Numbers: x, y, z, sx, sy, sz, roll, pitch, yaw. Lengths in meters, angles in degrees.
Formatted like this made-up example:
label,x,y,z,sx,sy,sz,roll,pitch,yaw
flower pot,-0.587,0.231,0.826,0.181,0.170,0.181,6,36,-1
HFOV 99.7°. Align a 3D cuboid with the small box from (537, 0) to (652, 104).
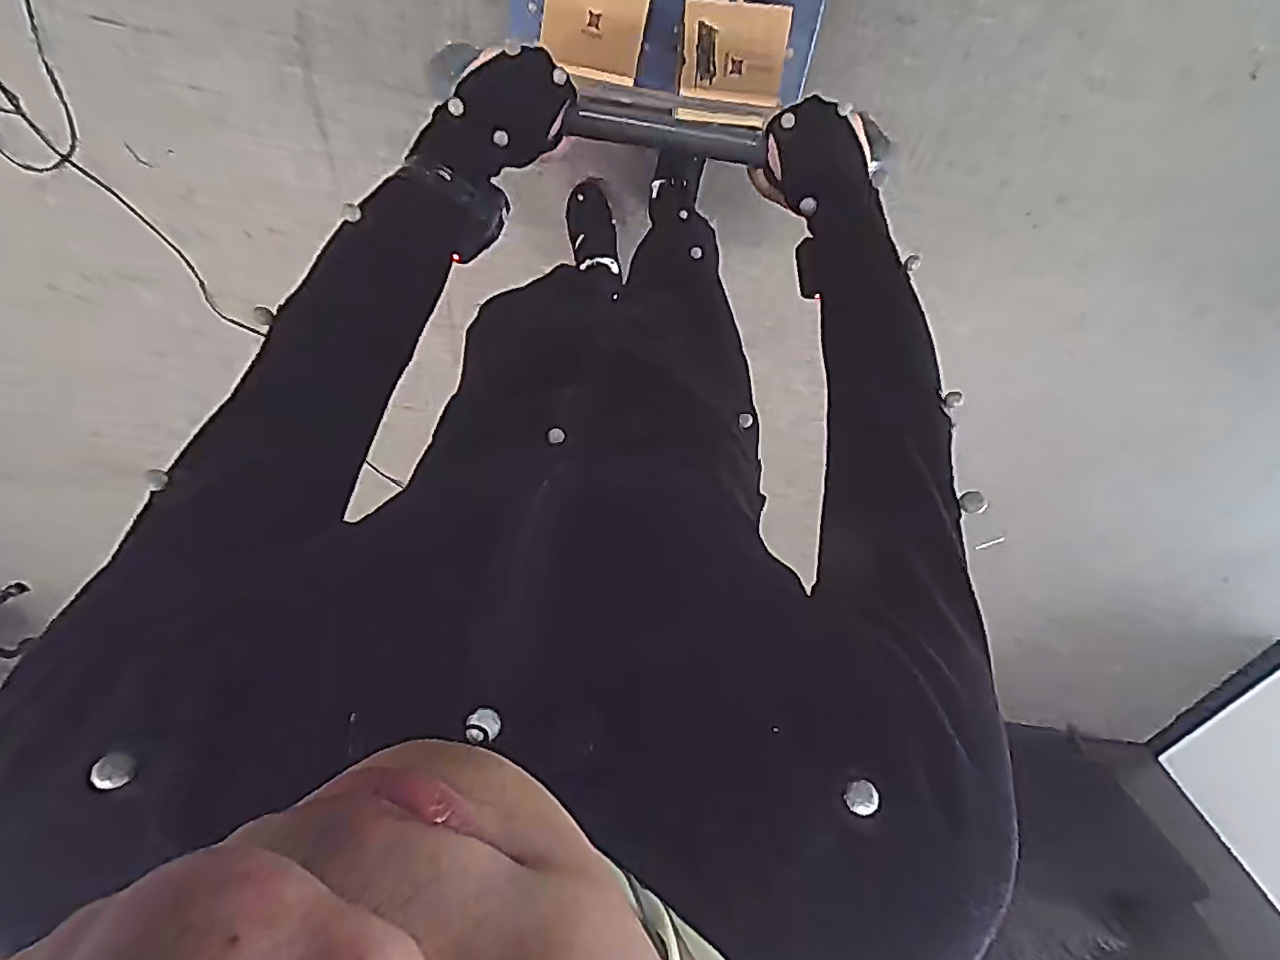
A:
label,x,y,z,sx,sy,sz,roll,pitch,yaw
small box,-0.077,-0.786,0.948,0.168,0.176,0.179,12,124,-9
